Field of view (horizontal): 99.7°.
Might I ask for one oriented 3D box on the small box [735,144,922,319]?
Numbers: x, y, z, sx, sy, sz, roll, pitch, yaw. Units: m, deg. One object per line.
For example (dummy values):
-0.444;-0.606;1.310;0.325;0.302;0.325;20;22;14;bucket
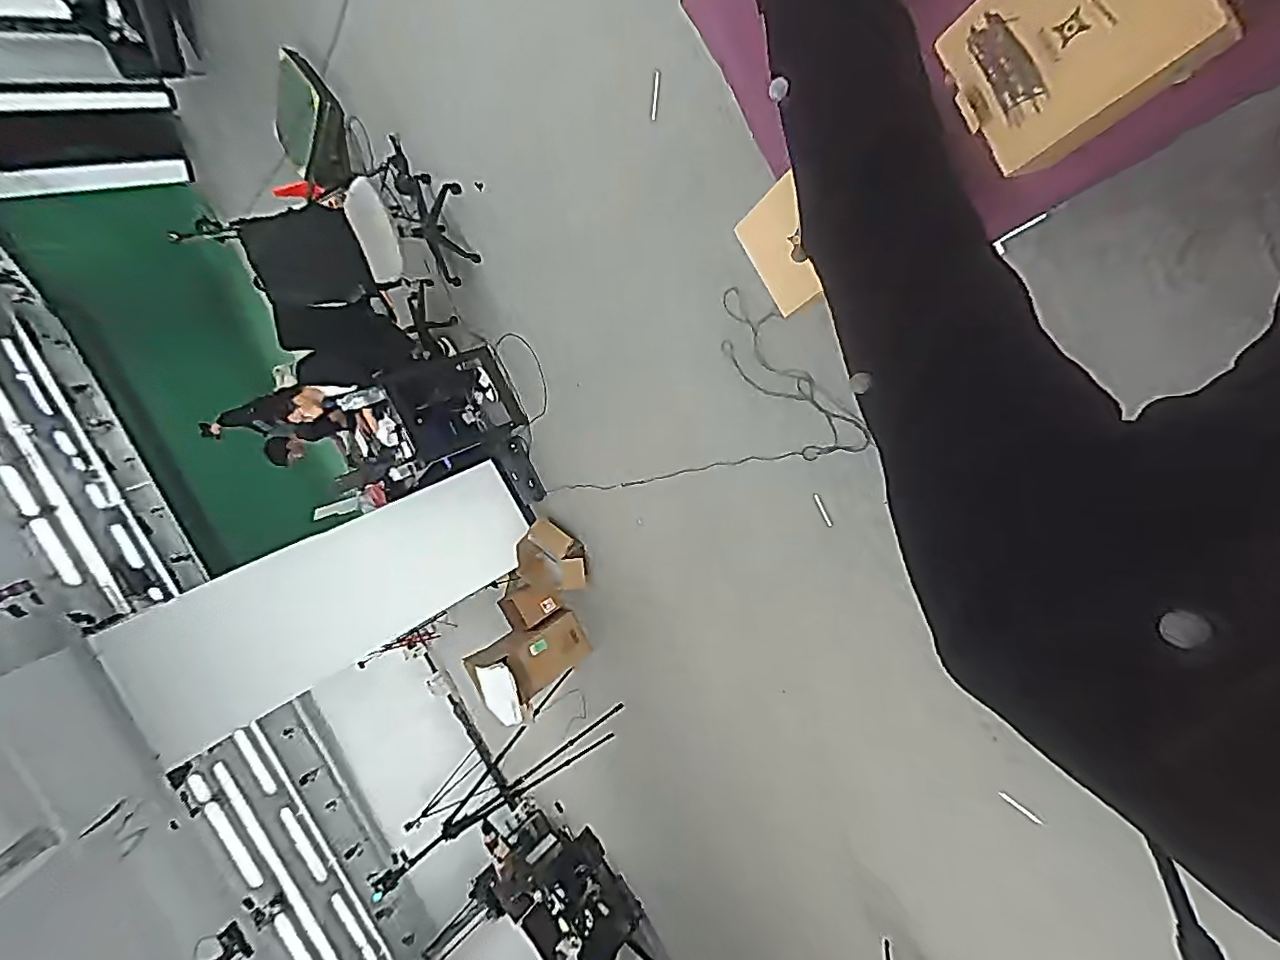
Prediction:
0.287;-0.377;0.826;0.168;0.176;0.179;60;145;1;small box
